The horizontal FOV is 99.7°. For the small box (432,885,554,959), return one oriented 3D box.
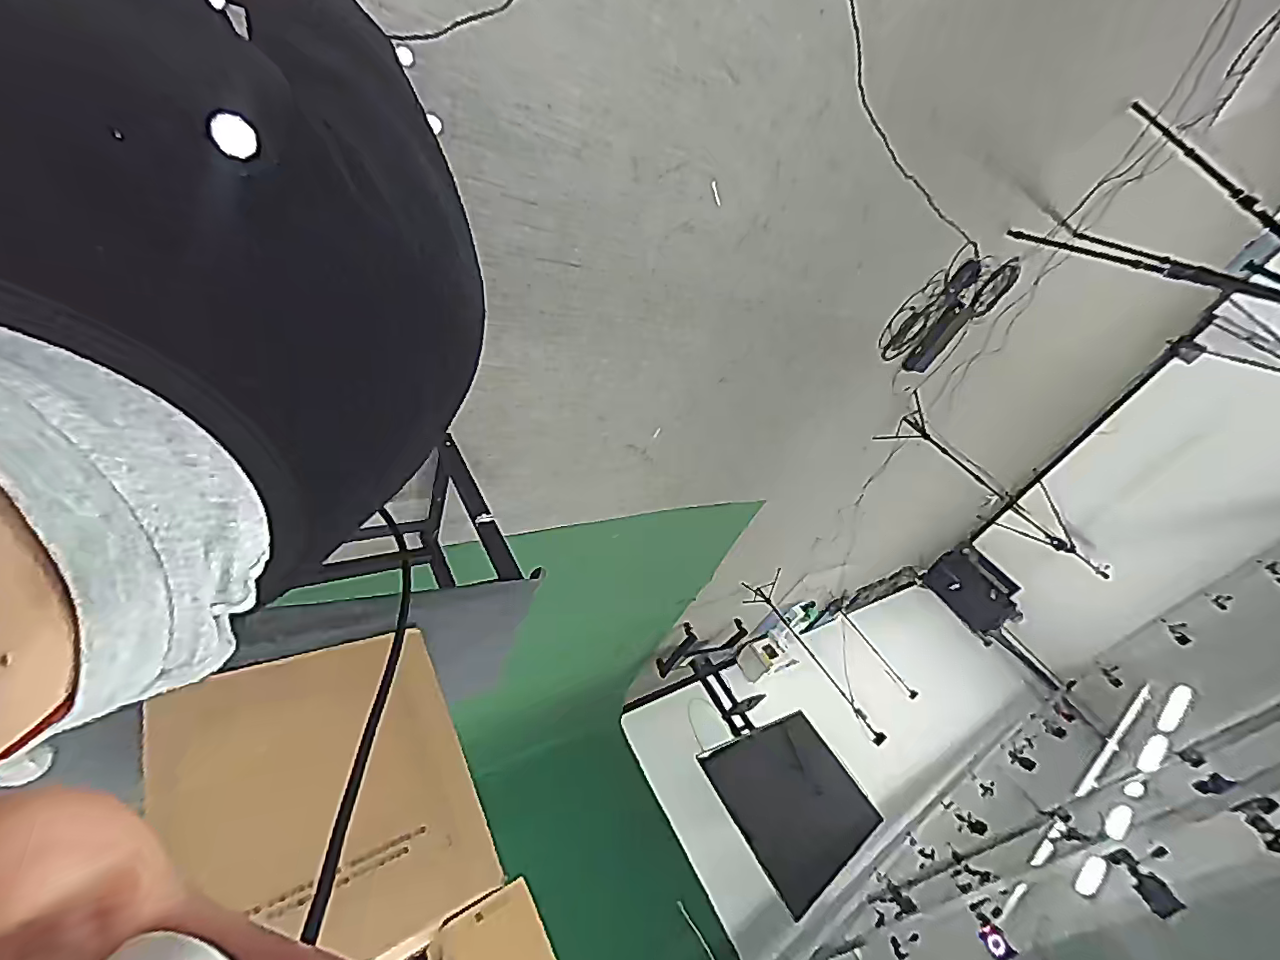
[{"bbox_3d":[-0.284,0.932,1.044,0.168,0.176,0.179,-8,137,-42],"label":"small box"}]
